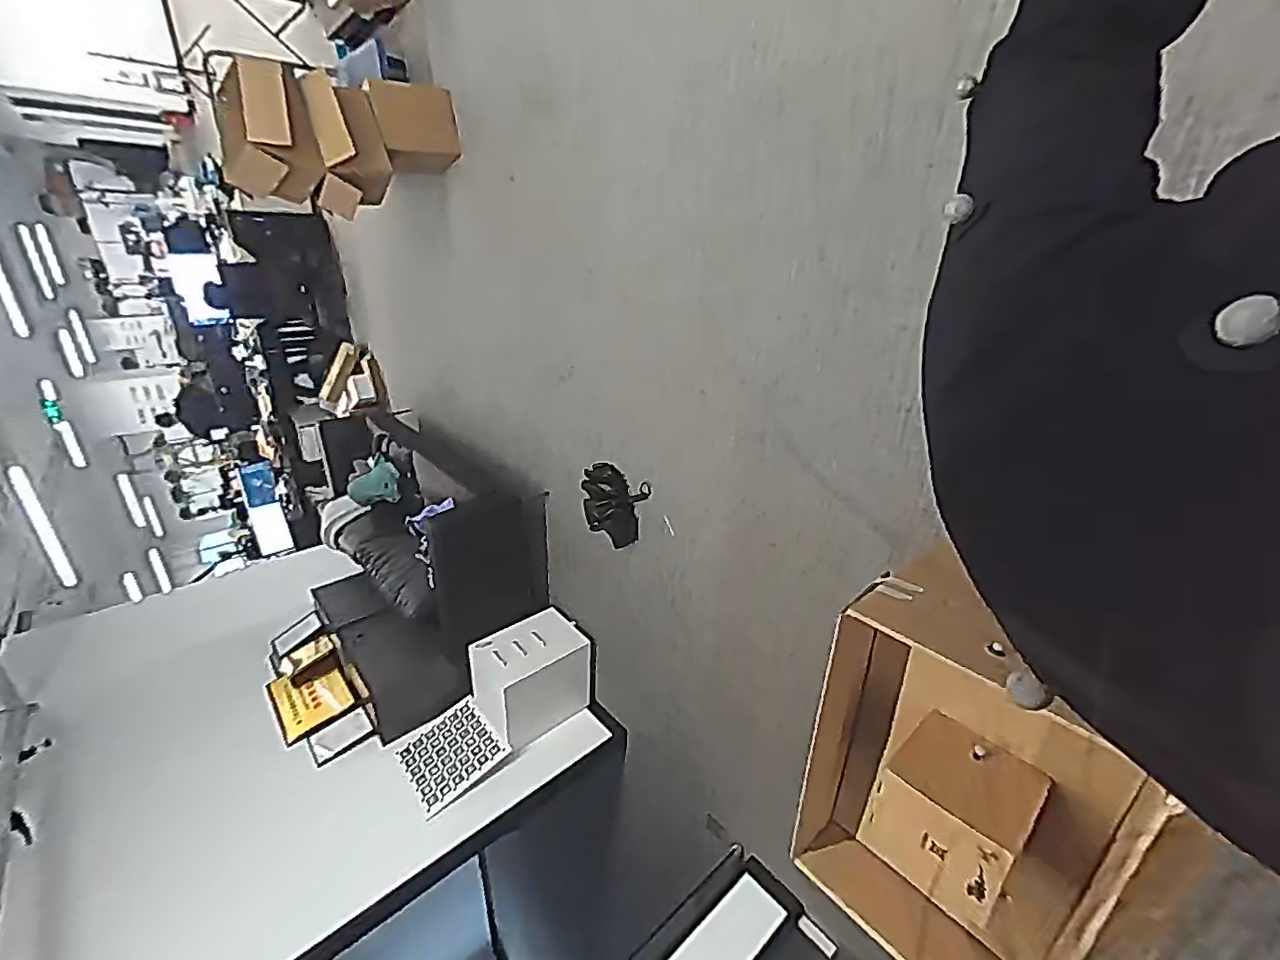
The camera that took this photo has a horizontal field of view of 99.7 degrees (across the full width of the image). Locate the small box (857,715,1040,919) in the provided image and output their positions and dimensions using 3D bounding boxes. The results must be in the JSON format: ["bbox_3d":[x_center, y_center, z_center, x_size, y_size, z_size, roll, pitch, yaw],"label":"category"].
[{"bbox_3d":[0.469,0.498,0.833,0.179,0.176,0.168,26,125,44],"label":"small box"}]
